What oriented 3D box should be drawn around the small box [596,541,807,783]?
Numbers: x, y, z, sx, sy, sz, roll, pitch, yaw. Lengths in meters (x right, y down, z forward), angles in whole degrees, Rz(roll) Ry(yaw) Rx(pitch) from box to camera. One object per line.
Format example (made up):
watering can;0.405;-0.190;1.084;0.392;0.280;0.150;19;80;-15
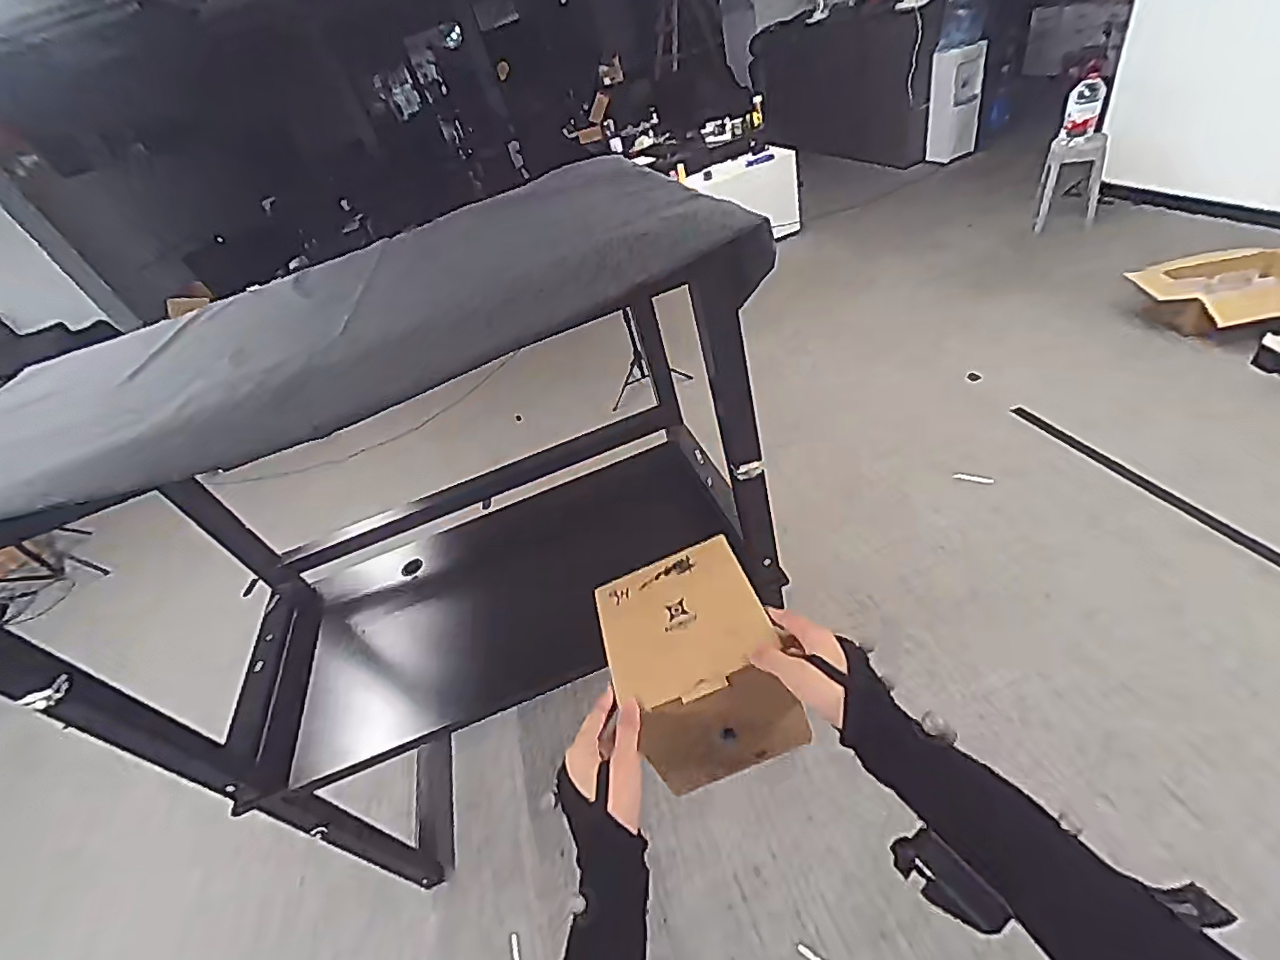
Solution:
small box;0.068;0.208;0.607;0.168;0.176;0.179;-23;35;1
